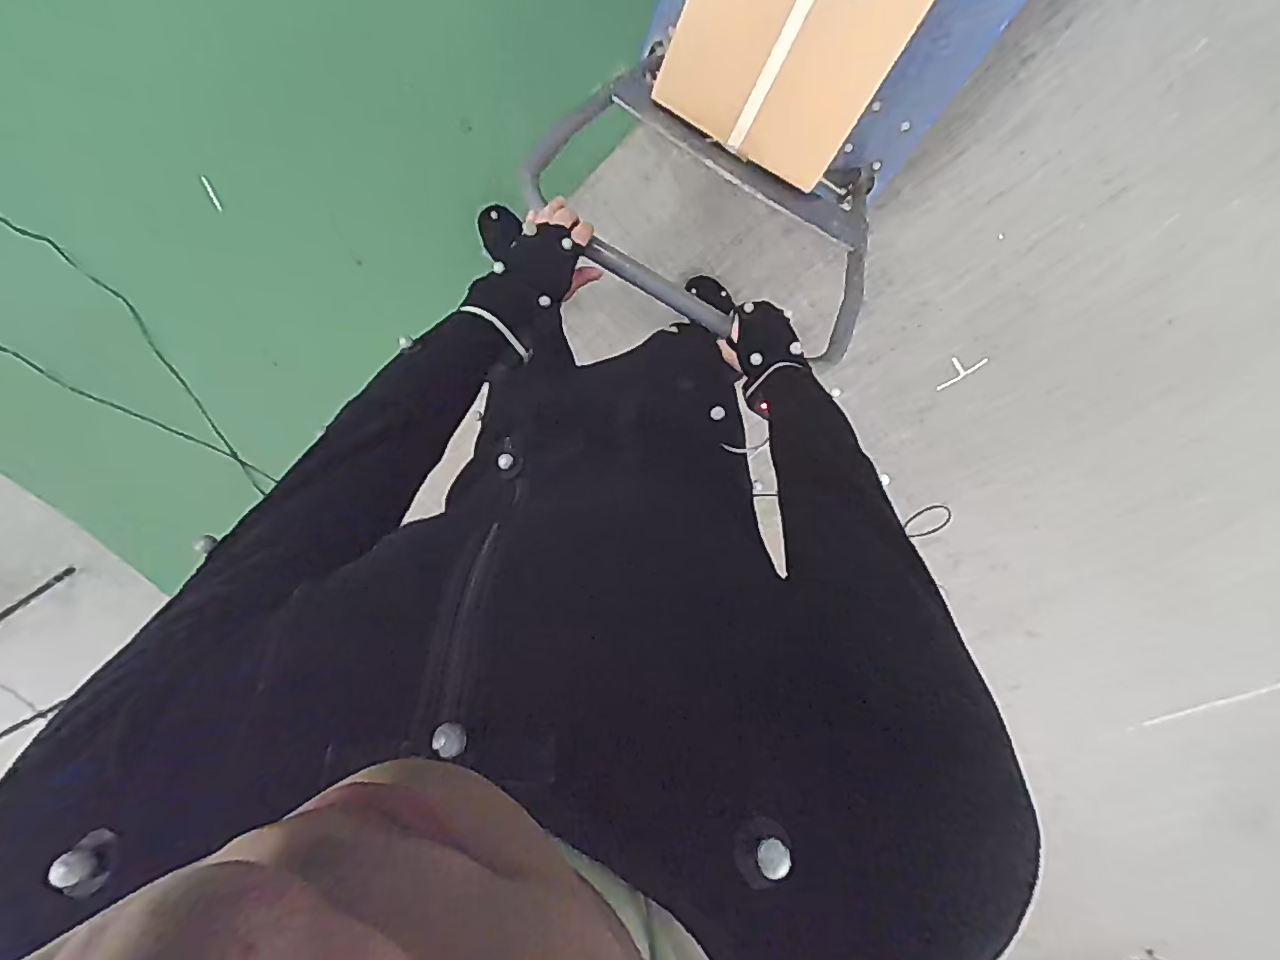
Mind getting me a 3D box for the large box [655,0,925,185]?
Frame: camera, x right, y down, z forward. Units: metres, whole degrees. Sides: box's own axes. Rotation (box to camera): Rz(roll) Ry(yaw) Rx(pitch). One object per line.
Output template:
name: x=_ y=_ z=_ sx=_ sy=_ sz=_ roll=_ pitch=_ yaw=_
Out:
large box: x=0.272 y=-0.788 z=0.884 sx=0.320 sy=0.320 sz=0.408 roll=28 pitch=134 yaw=-6
